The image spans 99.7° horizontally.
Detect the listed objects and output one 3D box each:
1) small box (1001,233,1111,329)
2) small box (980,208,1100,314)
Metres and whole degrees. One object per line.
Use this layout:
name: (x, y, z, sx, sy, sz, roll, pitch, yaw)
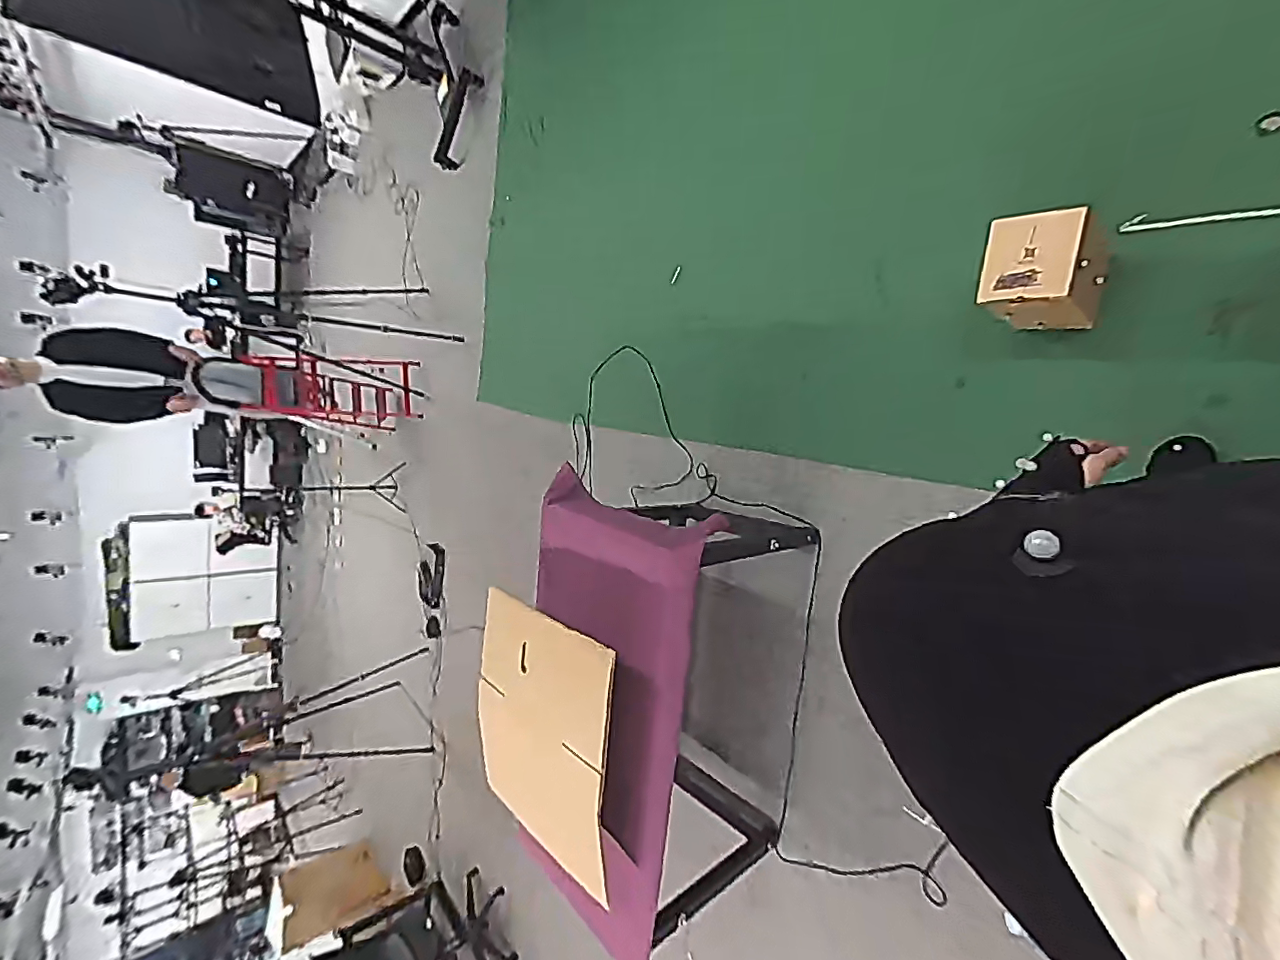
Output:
small box: (0.992, -0.464, 1.286, 0.168, 0.176, 0.179, 15, 102, 46)
small box: (0.871, -0.462, 1.175, 0.168, 0.176, 0.179, 15, 101, 46)
